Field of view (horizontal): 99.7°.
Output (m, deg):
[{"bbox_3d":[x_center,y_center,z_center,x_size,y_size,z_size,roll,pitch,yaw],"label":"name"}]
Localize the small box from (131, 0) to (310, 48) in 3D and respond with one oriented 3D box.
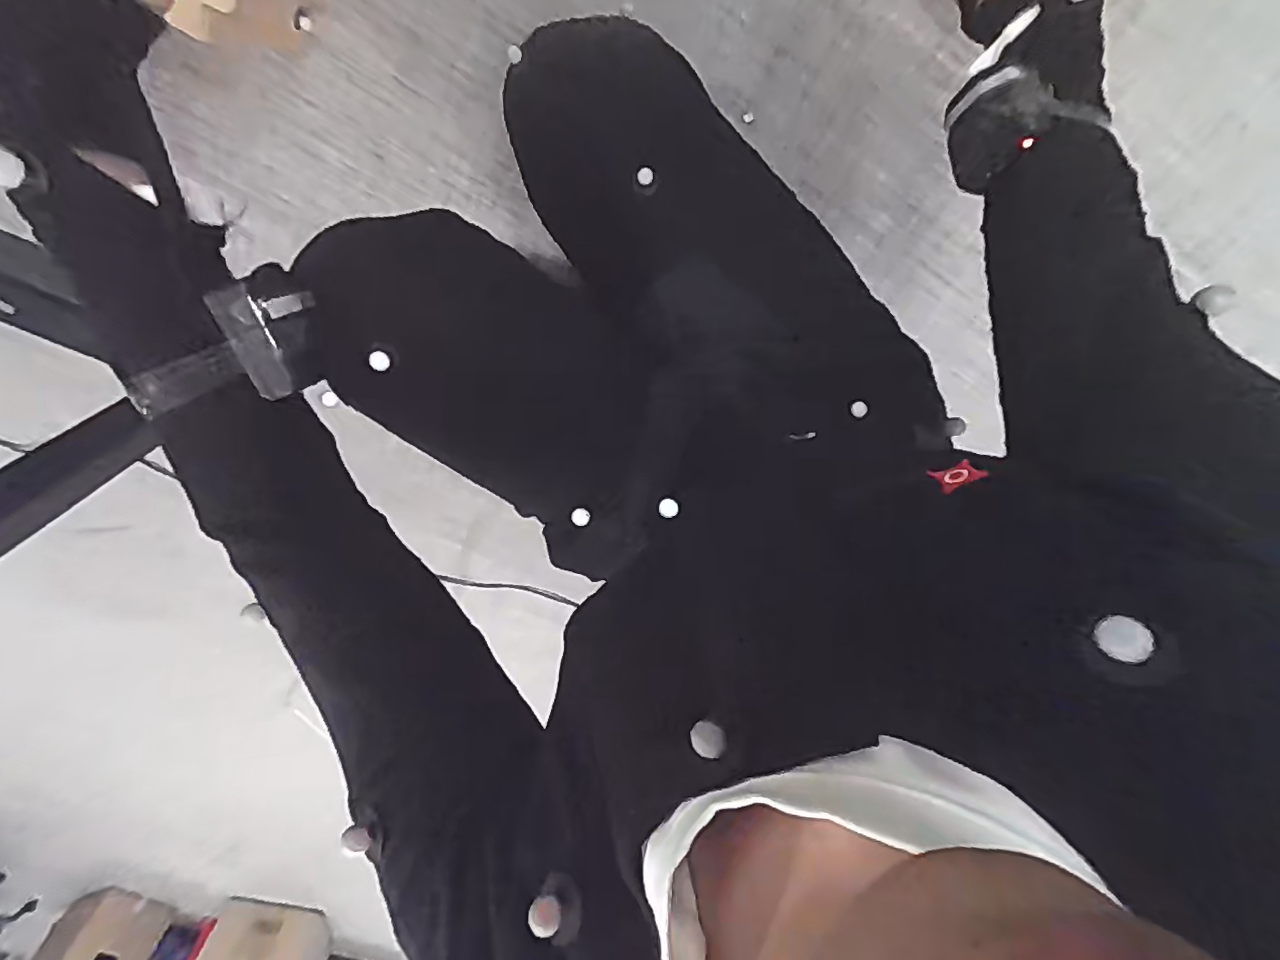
[{"bbox_3d":[-0.417,-0.533,0.488,0.179,0.176,0.168,29,124,-14],"label":"small box"}]
